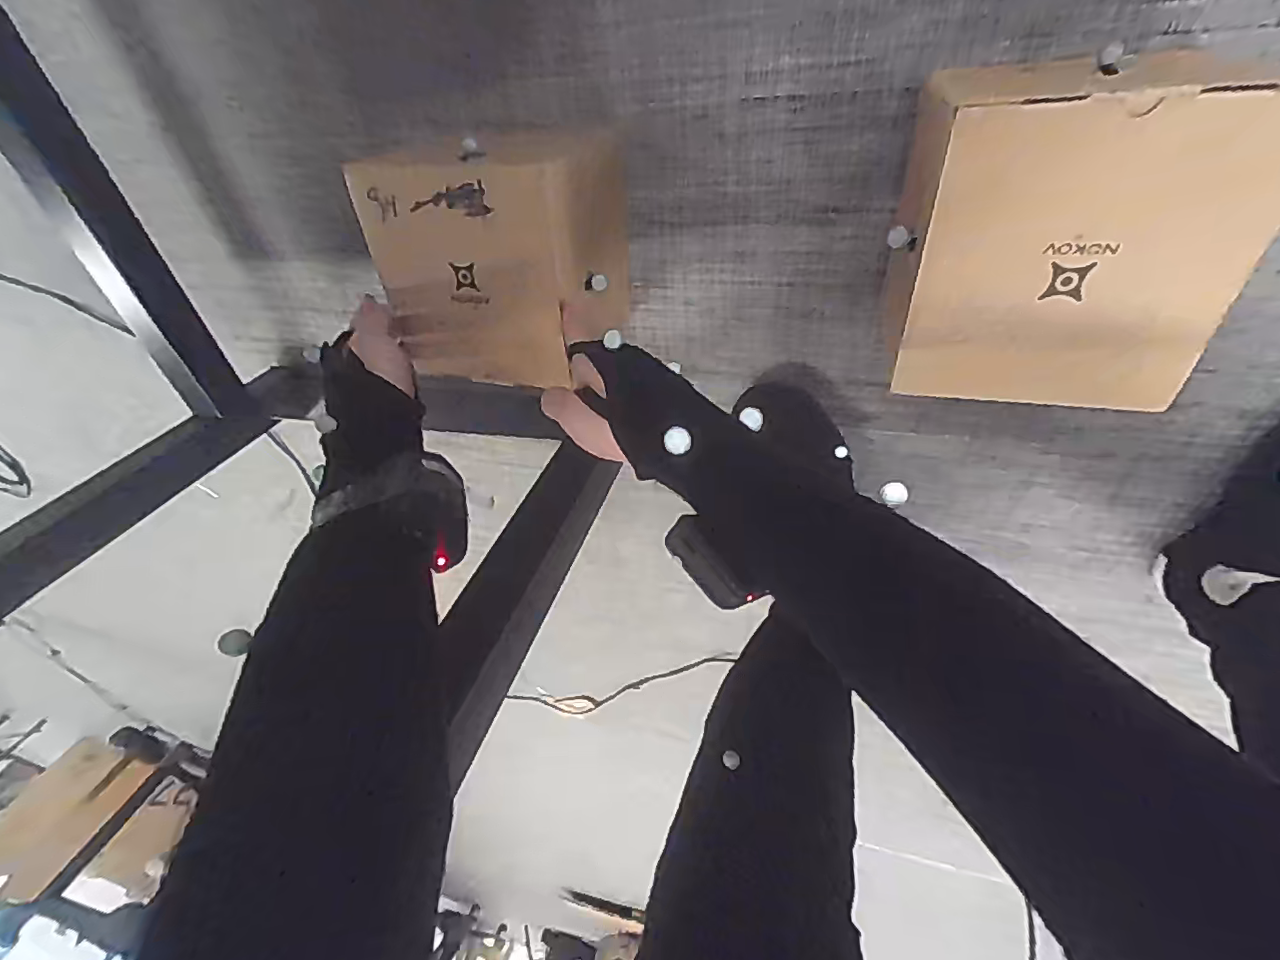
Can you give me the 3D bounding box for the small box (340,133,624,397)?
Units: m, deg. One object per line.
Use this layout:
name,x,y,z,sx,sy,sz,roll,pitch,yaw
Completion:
small box,-0.119,-0.200,0.494,0.168,0.176,0.179,9,131,15
